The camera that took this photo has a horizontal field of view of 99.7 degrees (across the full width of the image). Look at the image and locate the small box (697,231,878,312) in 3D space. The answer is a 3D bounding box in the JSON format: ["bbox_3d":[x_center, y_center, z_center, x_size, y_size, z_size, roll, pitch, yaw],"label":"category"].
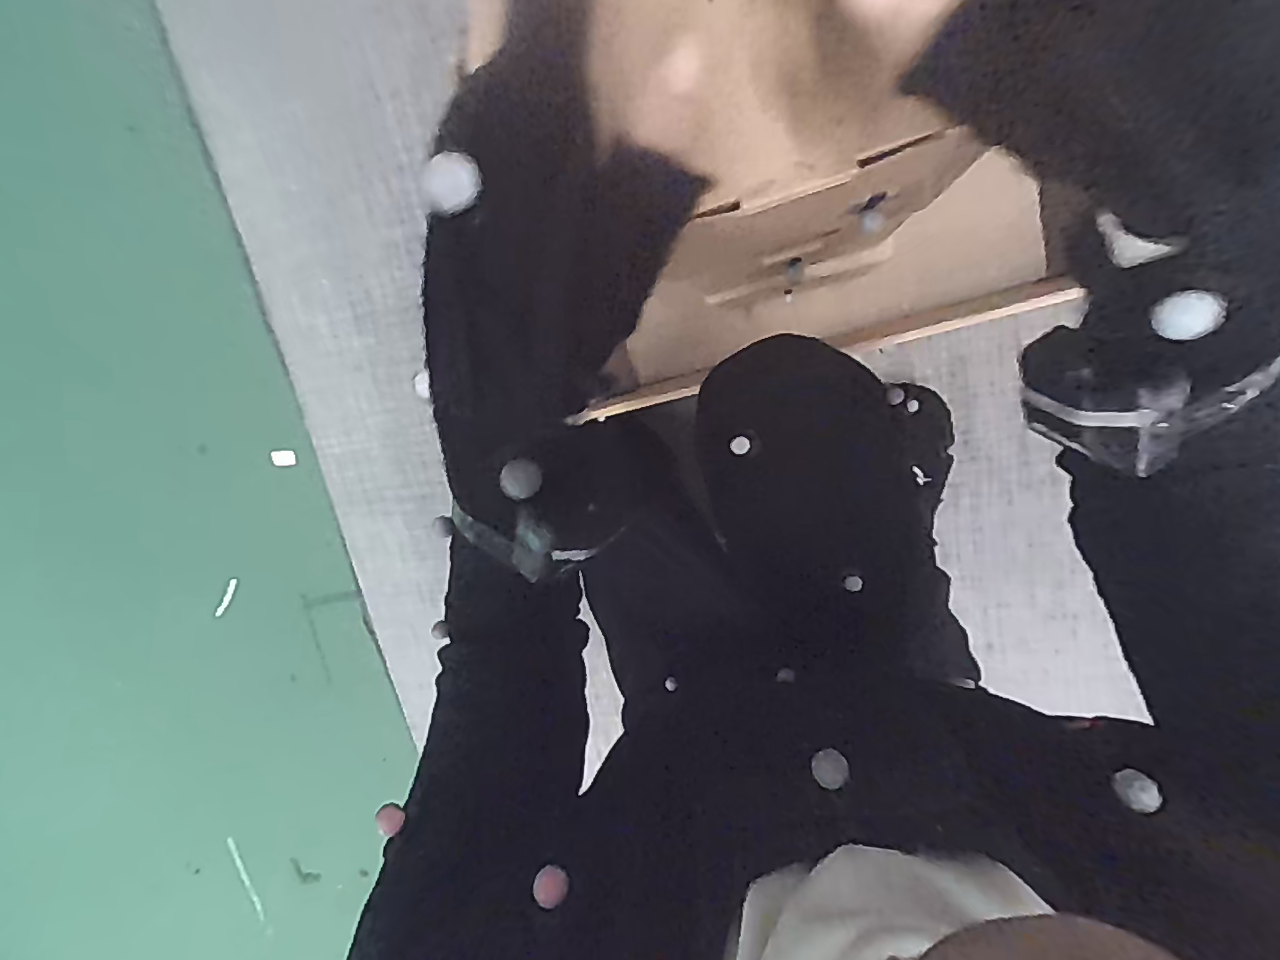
[{"bbox_3d":[0.149,-0.288,0.595,0.179,0.176,0.168,-8,101,18],"label":"small box"}]

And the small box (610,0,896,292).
[{"bbox_3d":[0.098,-0.263,0.444,0.168,0.176,0.179,-13,100,20],"label":"small box"}]
